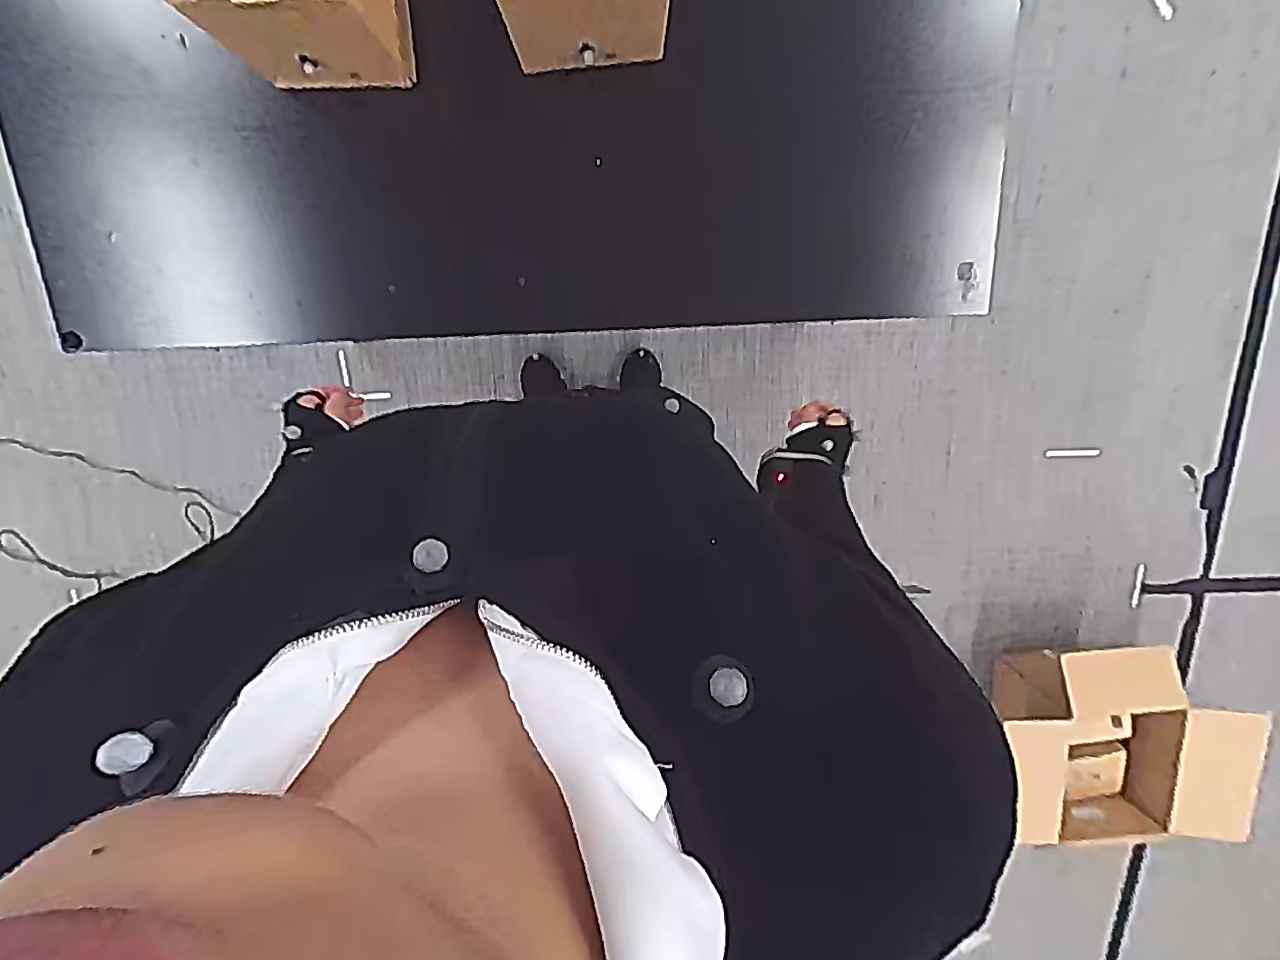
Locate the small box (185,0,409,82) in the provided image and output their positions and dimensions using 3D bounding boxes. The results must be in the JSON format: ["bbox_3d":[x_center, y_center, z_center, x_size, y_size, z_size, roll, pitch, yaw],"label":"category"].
[{"bbox_3d":[-0.348,-0.535,0.536,0.168,0.176,0.179,-1,104,-1],"label":"small box"}]
